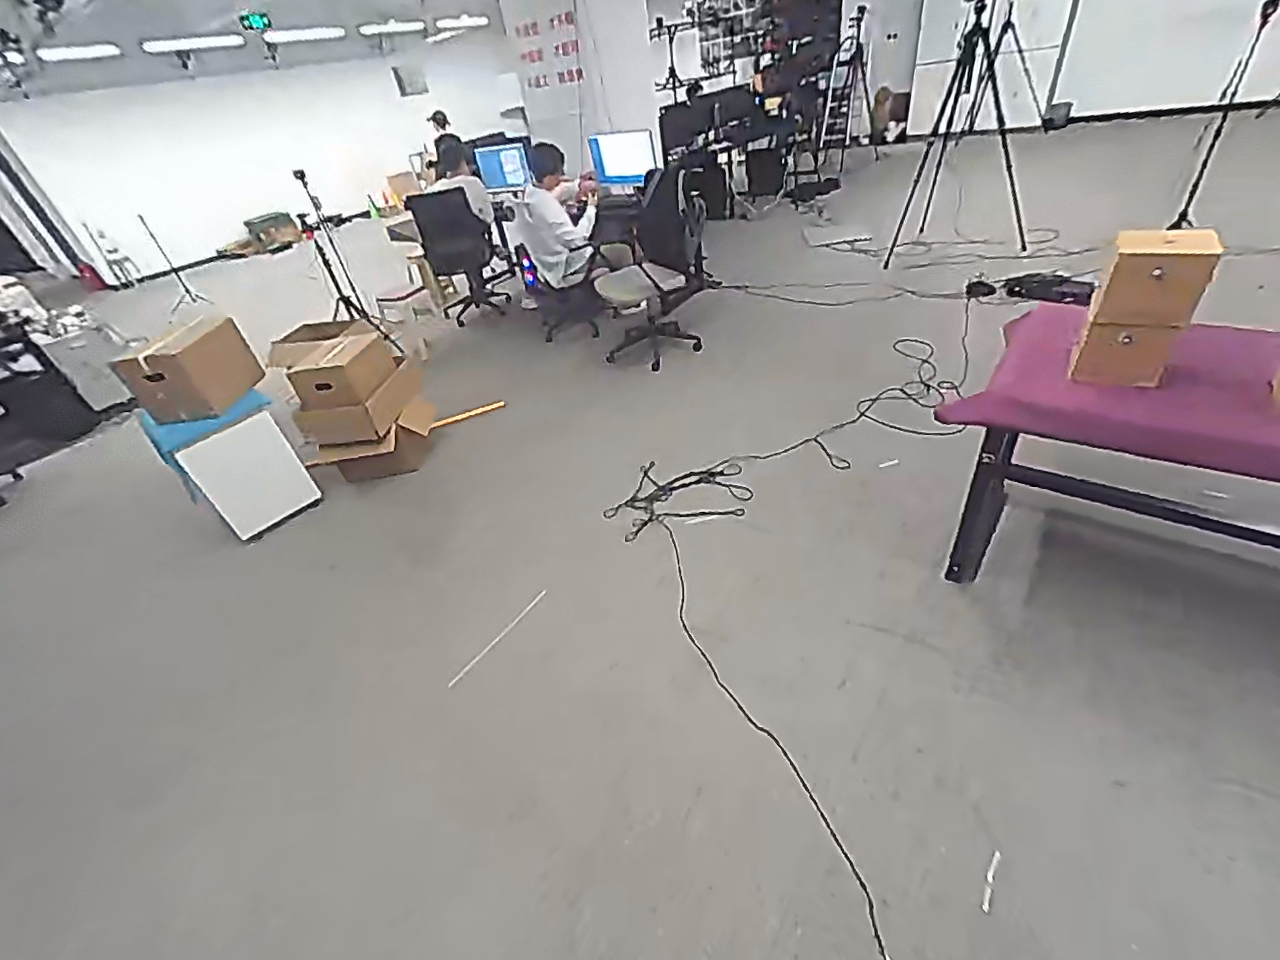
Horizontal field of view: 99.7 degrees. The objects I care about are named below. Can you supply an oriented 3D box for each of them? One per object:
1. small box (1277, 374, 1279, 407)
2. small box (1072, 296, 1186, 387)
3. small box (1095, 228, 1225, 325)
[{"bbox_3d":[1.509,-0.238,1.144,0.168,0.176,0.179,22,48,36],"label":"small box"},{"bbox_3d":[1.226,-0.352,1.367,0.179,0.176,0.168,17,46,31],"label":"small box"},{"bbox_3d":[1.202,-0.475,1.264,0.179,0.176,0.168,14,45,30],"label":"small box"}]
